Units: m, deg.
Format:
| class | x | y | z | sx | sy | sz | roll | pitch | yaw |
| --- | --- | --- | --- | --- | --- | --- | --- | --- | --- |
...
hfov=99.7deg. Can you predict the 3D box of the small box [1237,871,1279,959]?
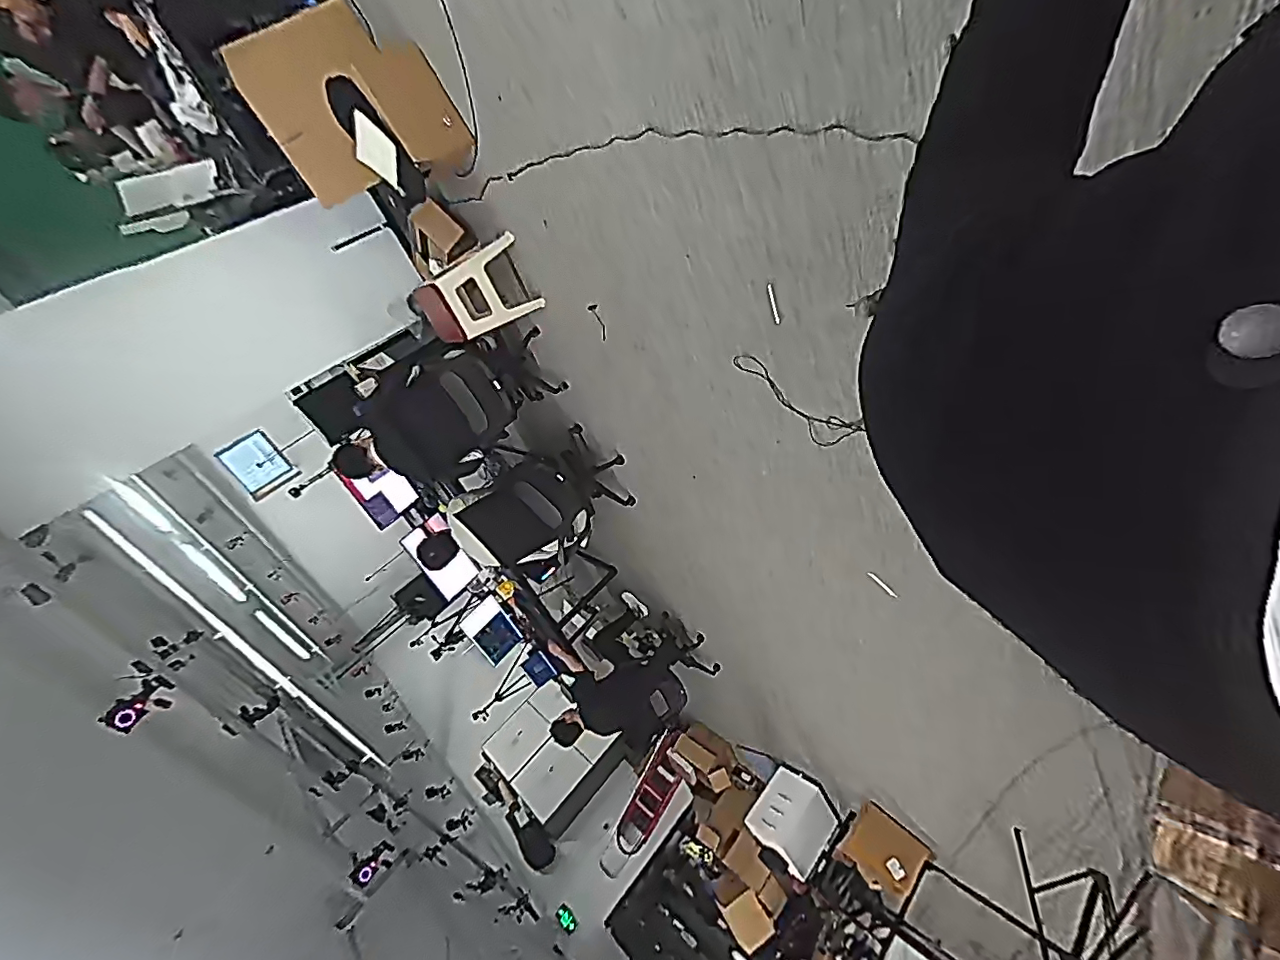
| class | x | y | z | sx | sy | sz | roll | pitch | yaw |
| --- | --- | --- | --- | --- | --- | --- | --- | --- | --- |
| small box | 1.498 | 1.051 | 1.227 | 0.168 | 0.176 | 0.179 | 10 | 130 | 49 |
